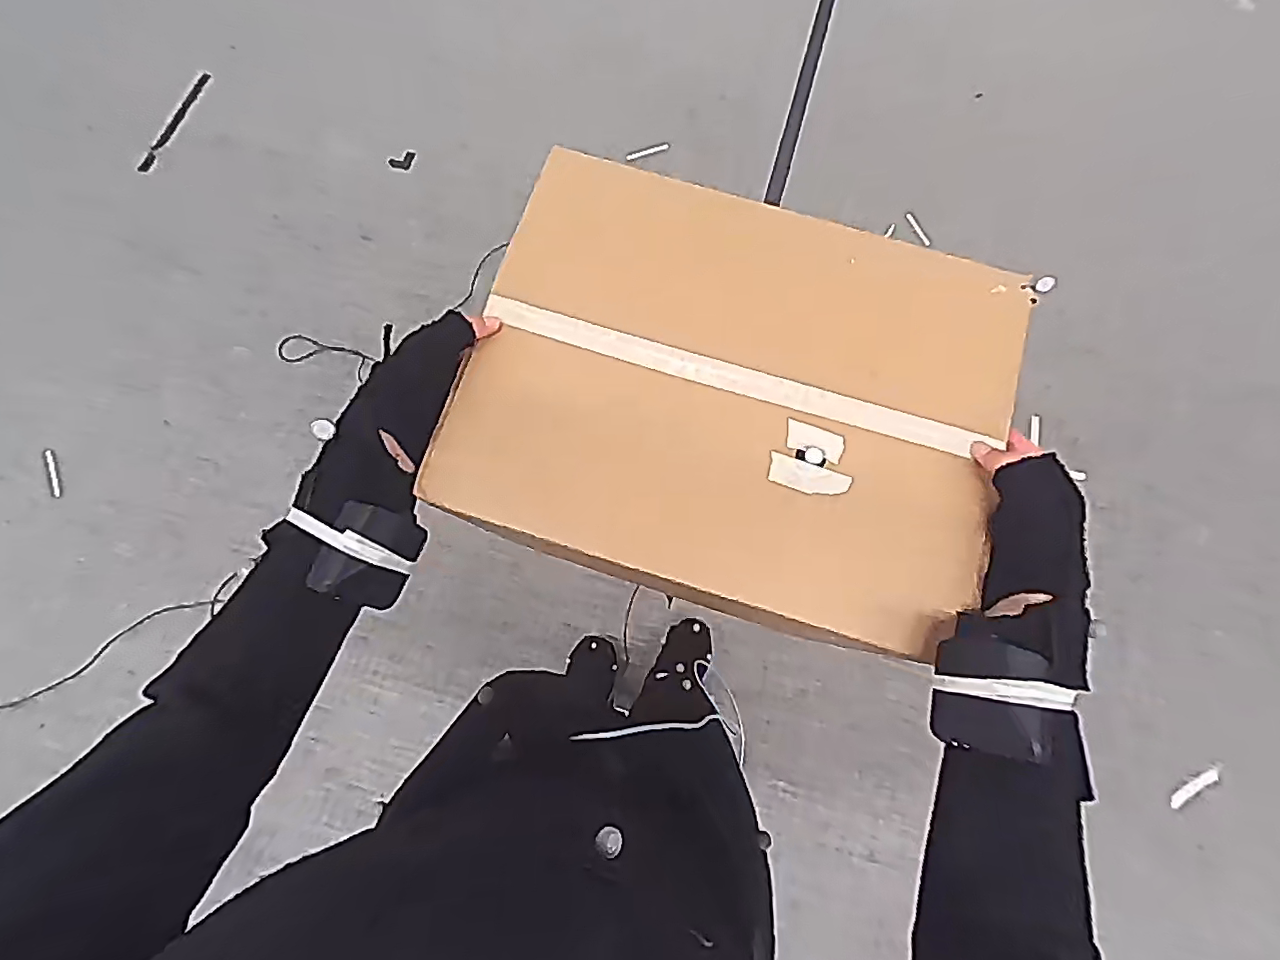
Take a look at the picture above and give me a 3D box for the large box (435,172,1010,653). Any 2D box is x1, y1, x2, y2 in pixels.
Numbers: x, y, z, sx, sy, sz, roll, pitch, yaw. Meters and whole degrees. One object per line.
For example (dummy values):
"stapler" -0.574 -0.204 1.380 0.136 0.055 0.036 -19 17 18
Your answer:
"large box" 0.072 -0.039 0.570 0.408 0.320 0.320 17 79 2
